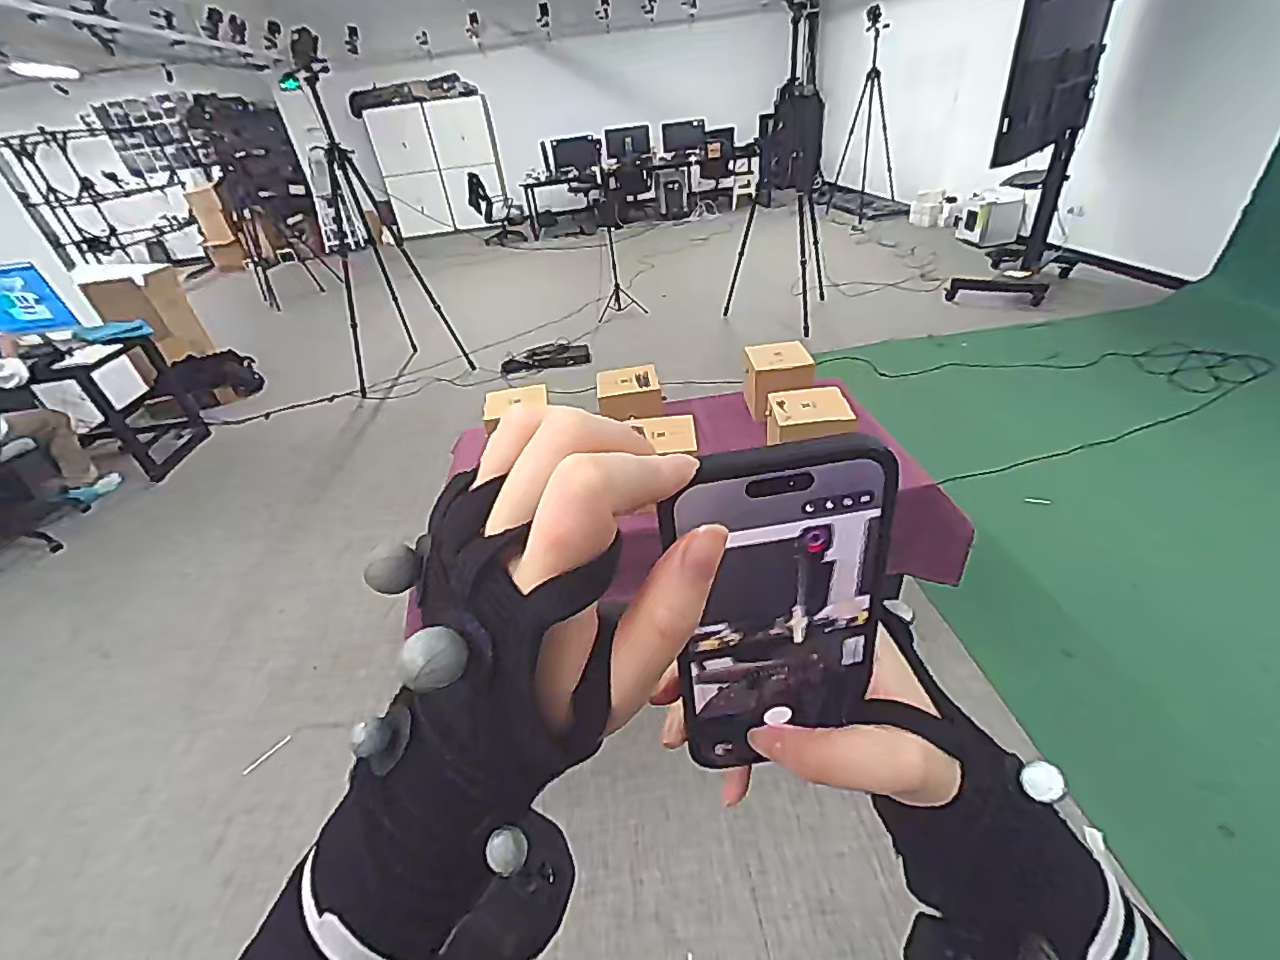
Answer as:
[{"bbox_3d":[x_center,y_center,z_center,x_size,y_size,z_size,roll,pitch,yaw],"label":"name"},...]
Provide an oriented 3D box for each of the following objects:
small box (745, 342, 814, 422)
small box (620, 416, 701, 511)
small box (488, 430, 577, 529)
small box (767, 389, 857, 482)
[{"bbox_3d":[0.403,-0.288,1.595,0.168,0.176,0.179,-7,36,3],"label":"small box"},{"bbox_3d":[0.052,-0.037,1.306,0.179,0.176,0.168,-4,35,4],"label":"small box"},{"bbox_3d":[-0.259,0.000,1.316,0.179,0.176,0.168,-11,34,-6],"label":"small box"},{"bbox_3d":[0.415,-0.109,1.338,0.179,0.176,0.168,-4,35,5],"label":"small box"}]
